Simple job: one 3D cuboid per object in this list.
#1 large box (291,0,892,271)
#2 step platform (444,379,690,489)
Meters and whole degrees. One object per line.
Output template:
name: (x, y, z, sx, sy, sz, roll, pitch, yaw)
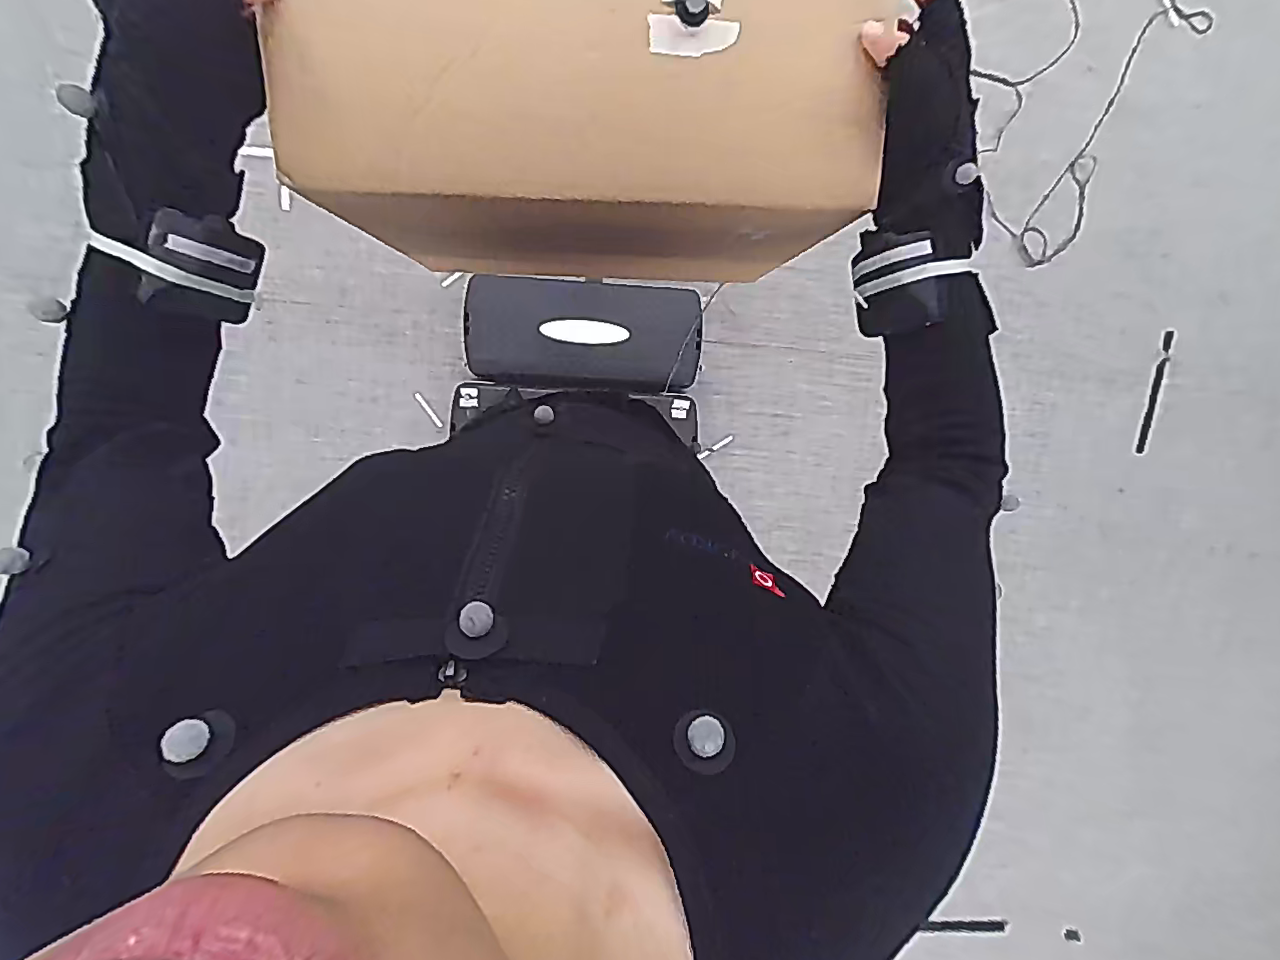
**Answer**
large box: (-0.037, -0.381, 0.495, 0.408, 0.320, 0.320, 0, 102, -4)
step platform: (-0.199, -0.130, 1.549, 0.684, 0.204, 0.286, 2, 98, -4)
